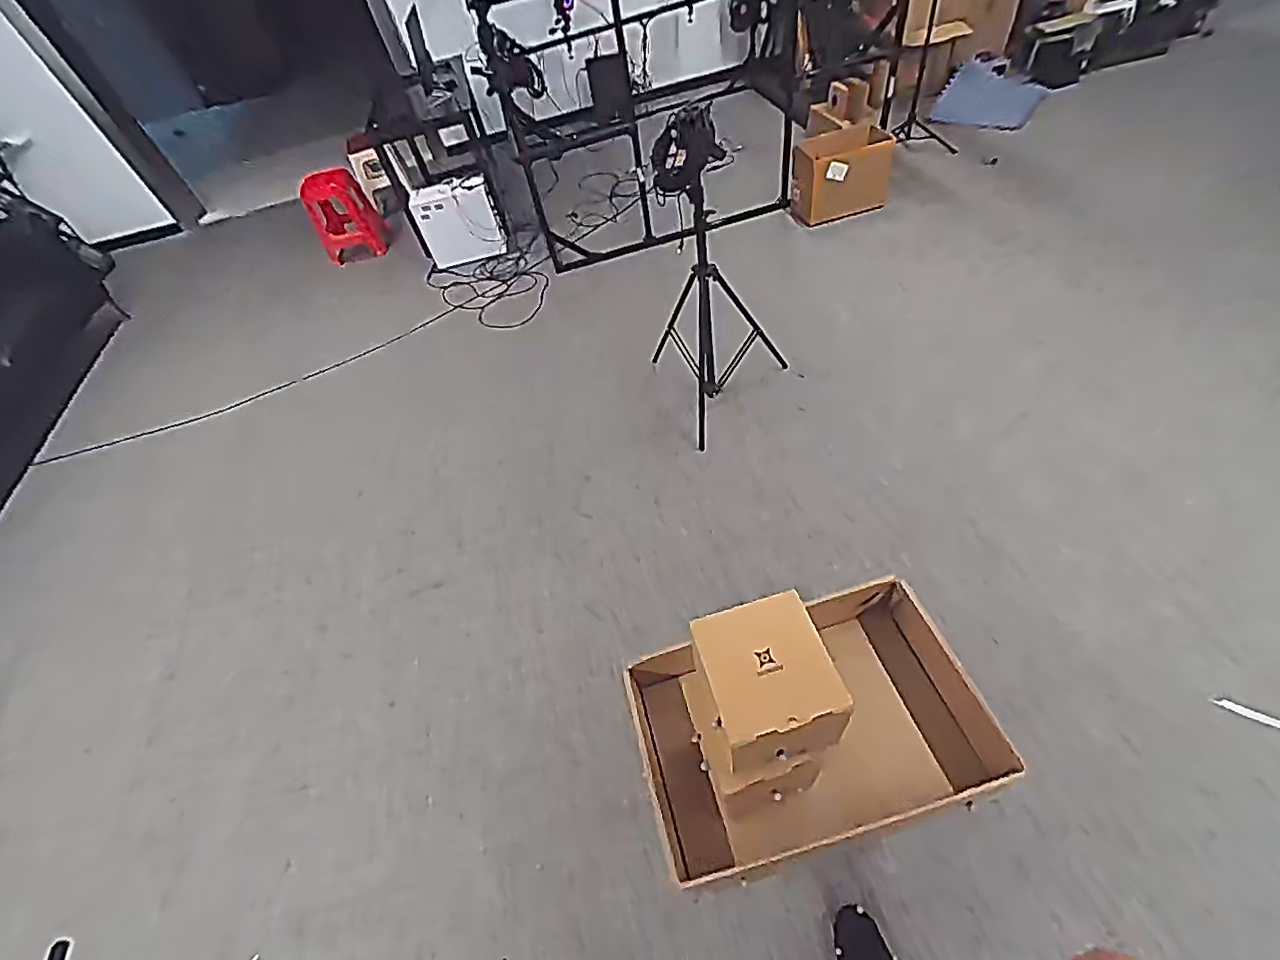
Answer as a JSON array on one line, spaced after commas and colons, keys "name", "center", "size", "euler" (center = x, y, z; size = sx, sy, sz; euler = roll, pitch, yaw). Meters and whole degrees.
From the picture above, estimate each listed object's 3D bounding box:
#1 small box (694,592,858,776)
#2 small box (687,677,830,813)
[{"name": "small box", "center": [0.184, 0.296, 0.782], "size": [0.168, 0.176, 0.179], "euler": [-17, 50, -4]}, {"name": "small box", "center": [0.188, 0.417, 0.895], "size": [0.168, 0.176, 0.179], "euler": [-20, 50, -6]}]
